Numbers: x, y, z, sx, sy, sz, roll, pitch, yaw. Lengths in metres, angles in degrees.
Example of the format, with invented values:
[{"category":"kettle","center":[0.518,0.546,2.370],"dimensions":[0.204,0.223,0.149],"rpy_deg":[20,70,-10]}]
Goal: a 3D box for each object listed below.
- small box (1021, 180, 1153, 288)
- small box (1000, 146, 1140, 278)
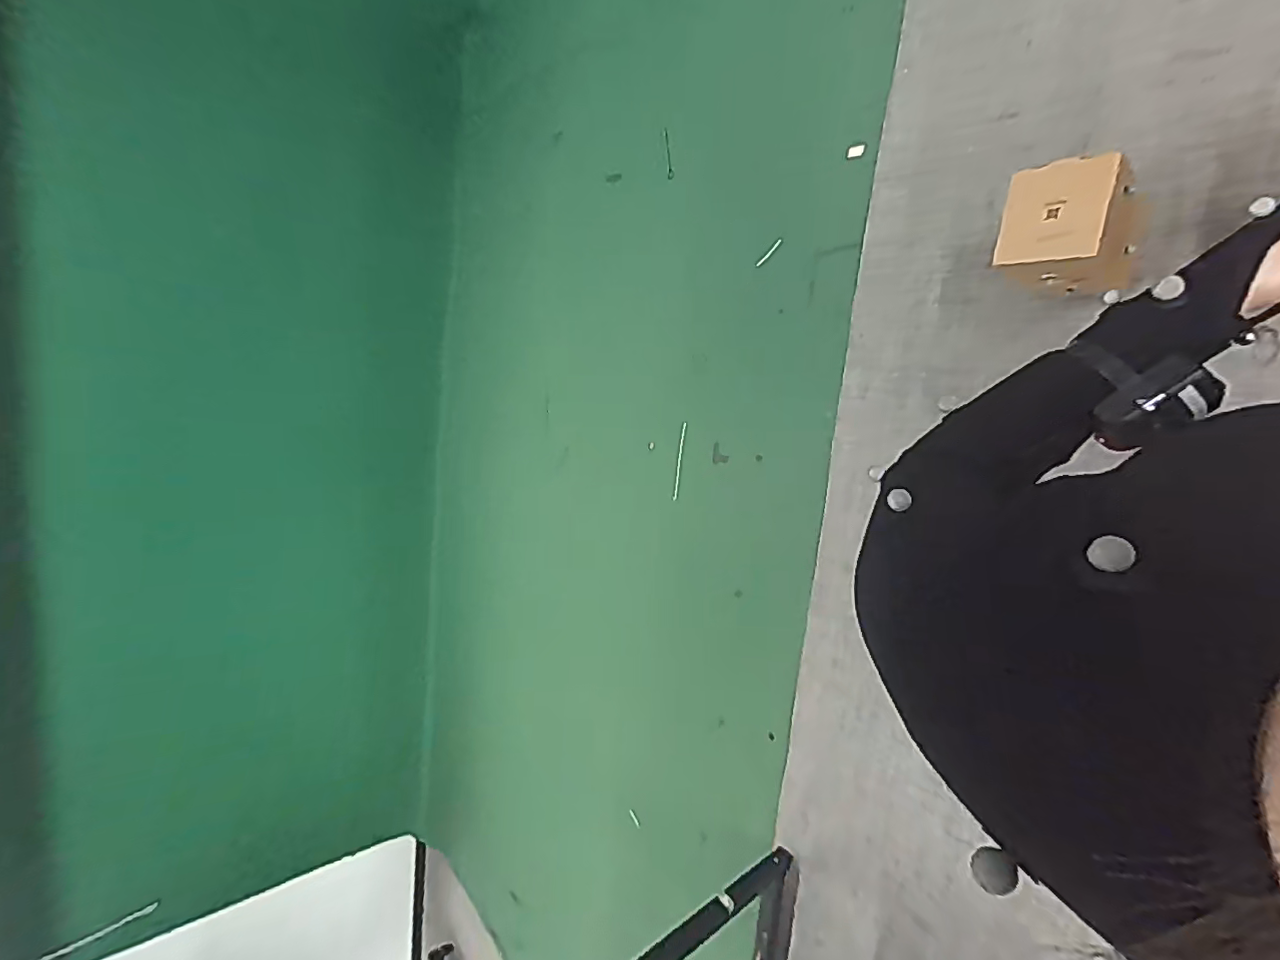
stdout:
[{"category":"small box","center":[0.955,-0.511,1.154],"dimensions":[0.168,0.176,0.179],"rpy_deg":[21,108,47]},{"category":"small box","center":[0.834,-0.505,1.047],"dimensions":[0.168,0.176,0.179],"rpy_deg":[17,105,49]}]
